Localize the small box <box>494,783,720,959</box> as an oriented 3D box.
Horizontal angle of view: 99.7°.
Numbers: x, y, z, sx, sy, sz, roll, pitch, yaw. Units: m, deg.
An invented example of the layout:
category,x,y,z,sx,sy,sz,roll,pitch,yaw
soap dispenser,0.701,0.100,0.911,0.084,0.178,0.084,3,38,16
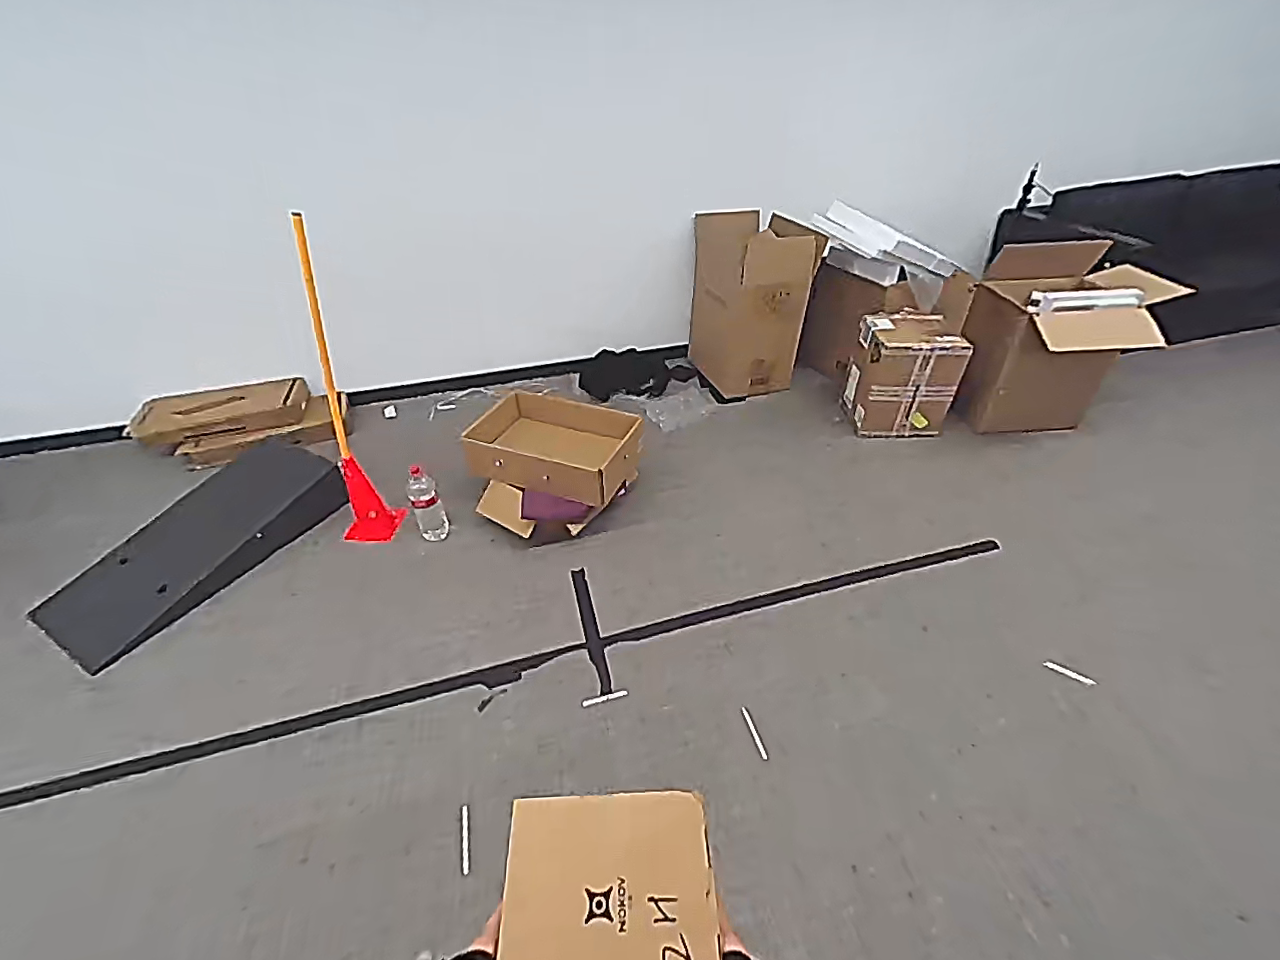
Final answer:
category,x,y,z,sx,sy,sz,roll,pitch,yaw
small box,-0.028,0.398,0.498,0.179,0.176,0.168,-1,44,-4
